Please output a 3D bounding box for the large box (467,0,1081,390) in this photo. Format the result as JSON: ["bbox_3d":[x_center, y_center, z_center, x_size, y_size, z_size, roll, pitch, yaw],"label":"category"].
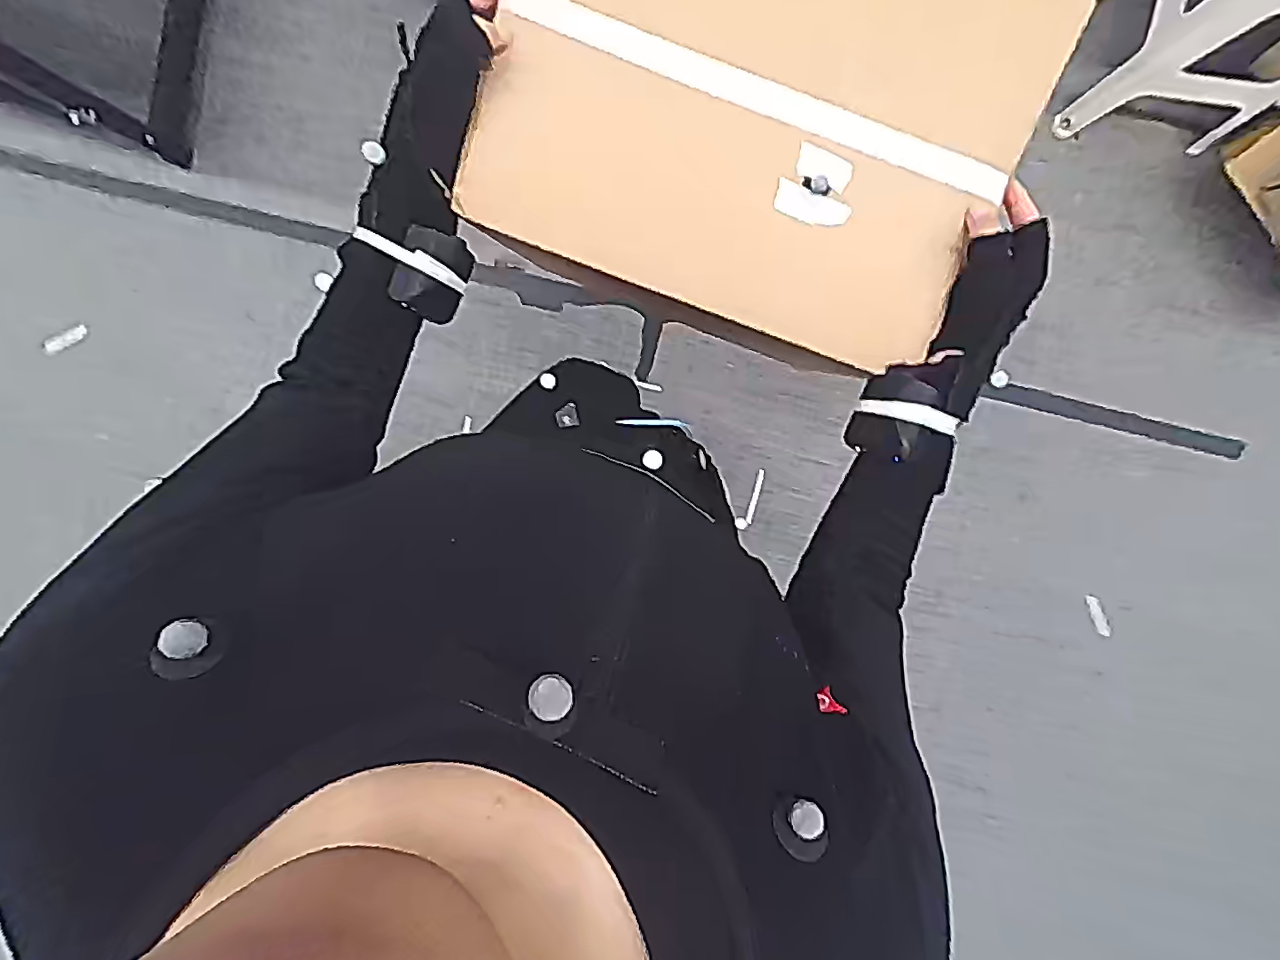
[{"bbox_3d":[0.094,-0.317,0.567,0.408,0.320,0.320,21,104,-4],"label":"large box"}]
